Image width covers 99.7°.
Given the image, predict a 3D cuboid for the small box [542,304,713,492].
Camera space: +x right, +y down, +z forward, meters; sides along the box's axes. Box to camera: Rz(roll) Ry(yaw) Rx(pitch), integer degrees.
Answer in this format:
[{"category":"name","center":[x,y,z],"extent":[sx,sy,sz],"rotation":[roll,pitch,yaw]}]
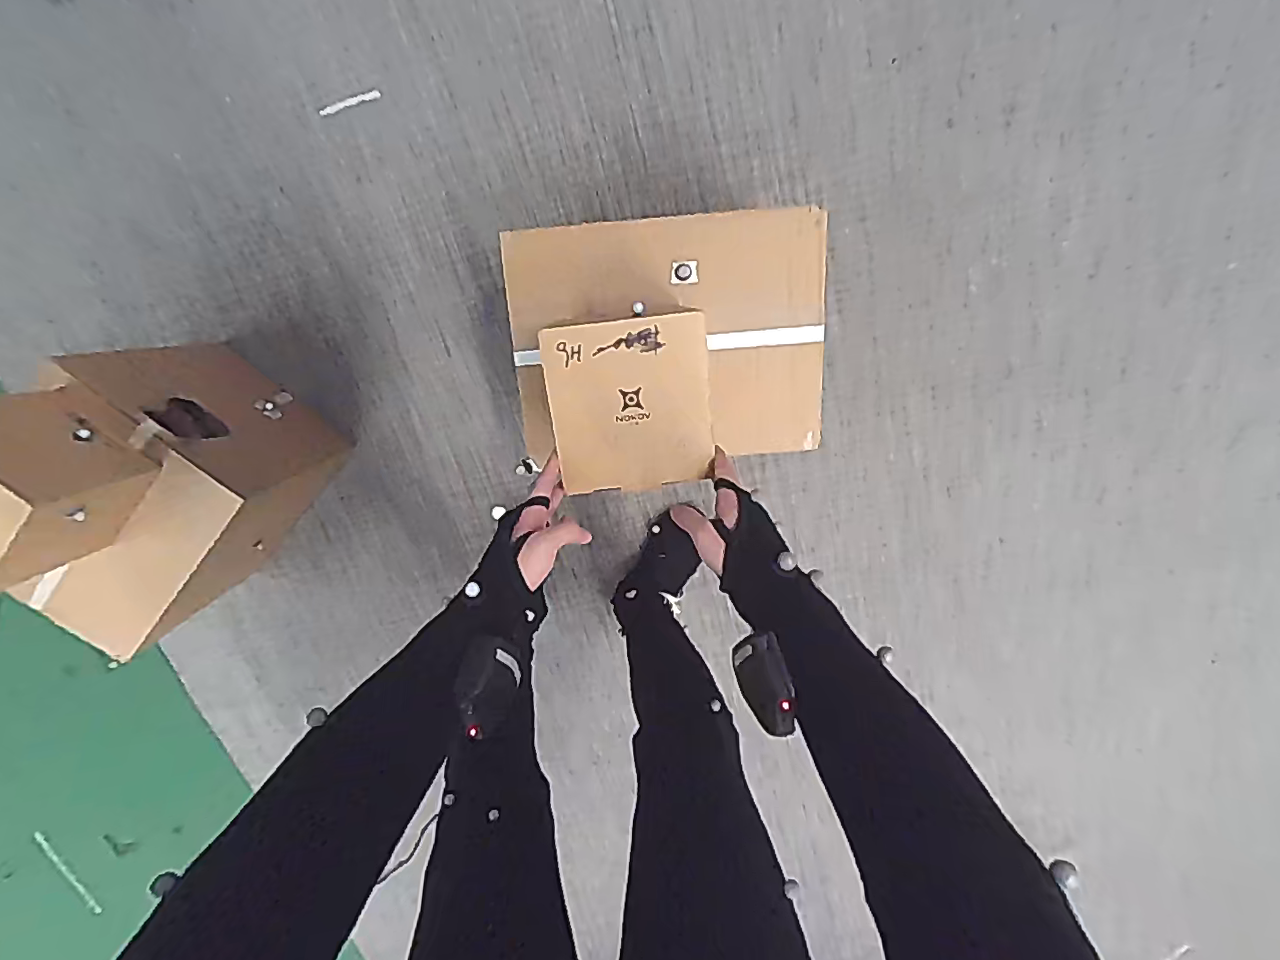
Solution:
[{"category":"small box","center":[-0.011,-0.102,0.622],"extent":[0.168,0.176,0.179],"rotation":[-6,110,-1]}]

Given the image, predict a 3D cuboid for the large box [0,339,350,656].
[{"category":"large box","center":[-0.816,0.012,0.959],"extent":[0.320,0.320,0.408],"rotation":[42,105,-11]}]
